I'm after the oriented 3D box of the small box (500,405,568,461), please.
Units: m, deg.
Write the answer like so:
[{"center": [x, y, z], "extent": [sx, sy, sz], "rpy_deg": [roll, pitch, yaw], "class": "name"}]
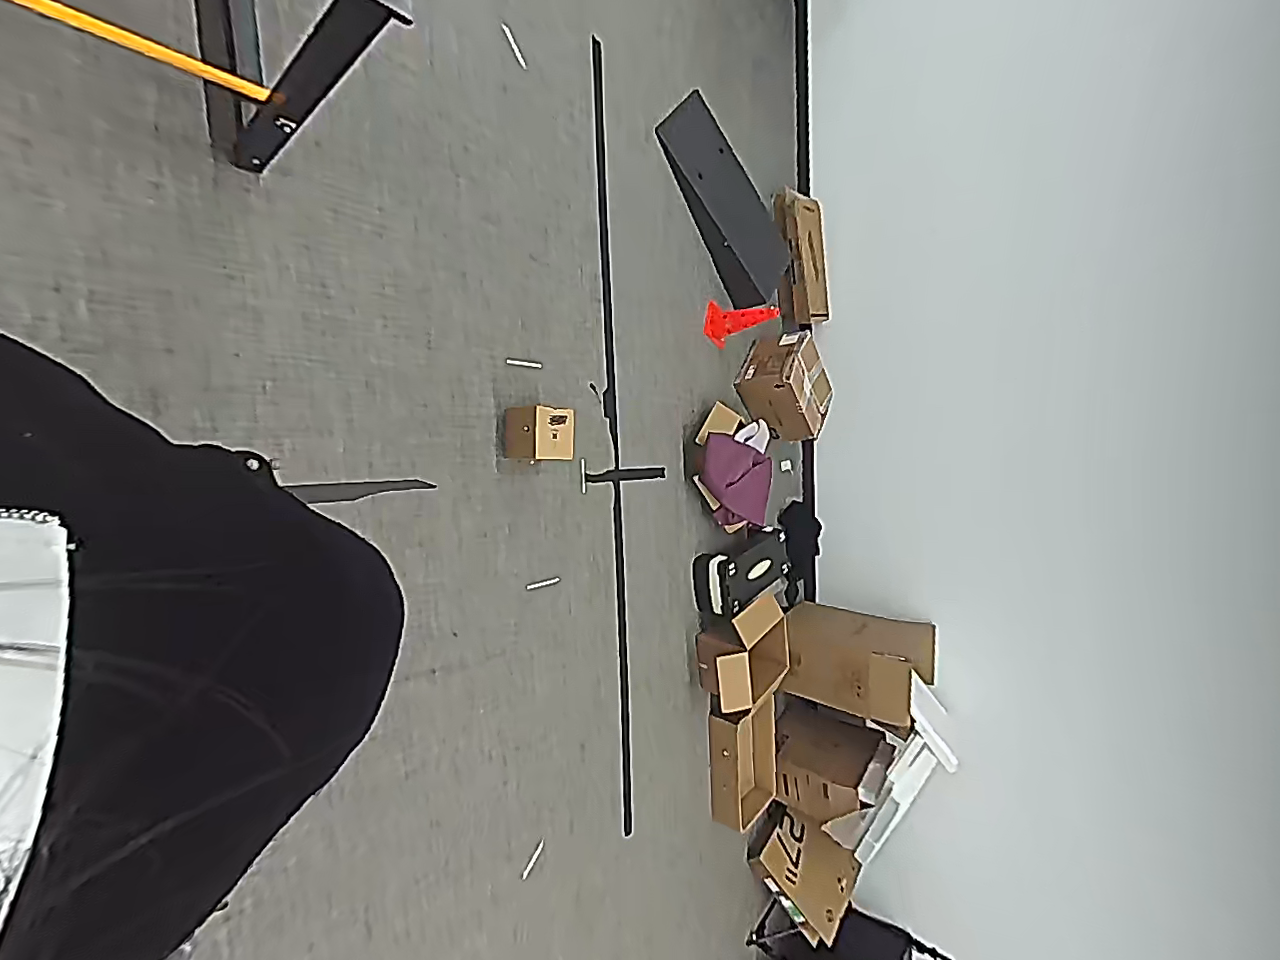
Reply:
[{"center": [-0.365, -0.157, 1.859], "extent": [0.168, 0.176, 0.179], "rpy_deg": [0, 92, -50], "class": "small box"}]
